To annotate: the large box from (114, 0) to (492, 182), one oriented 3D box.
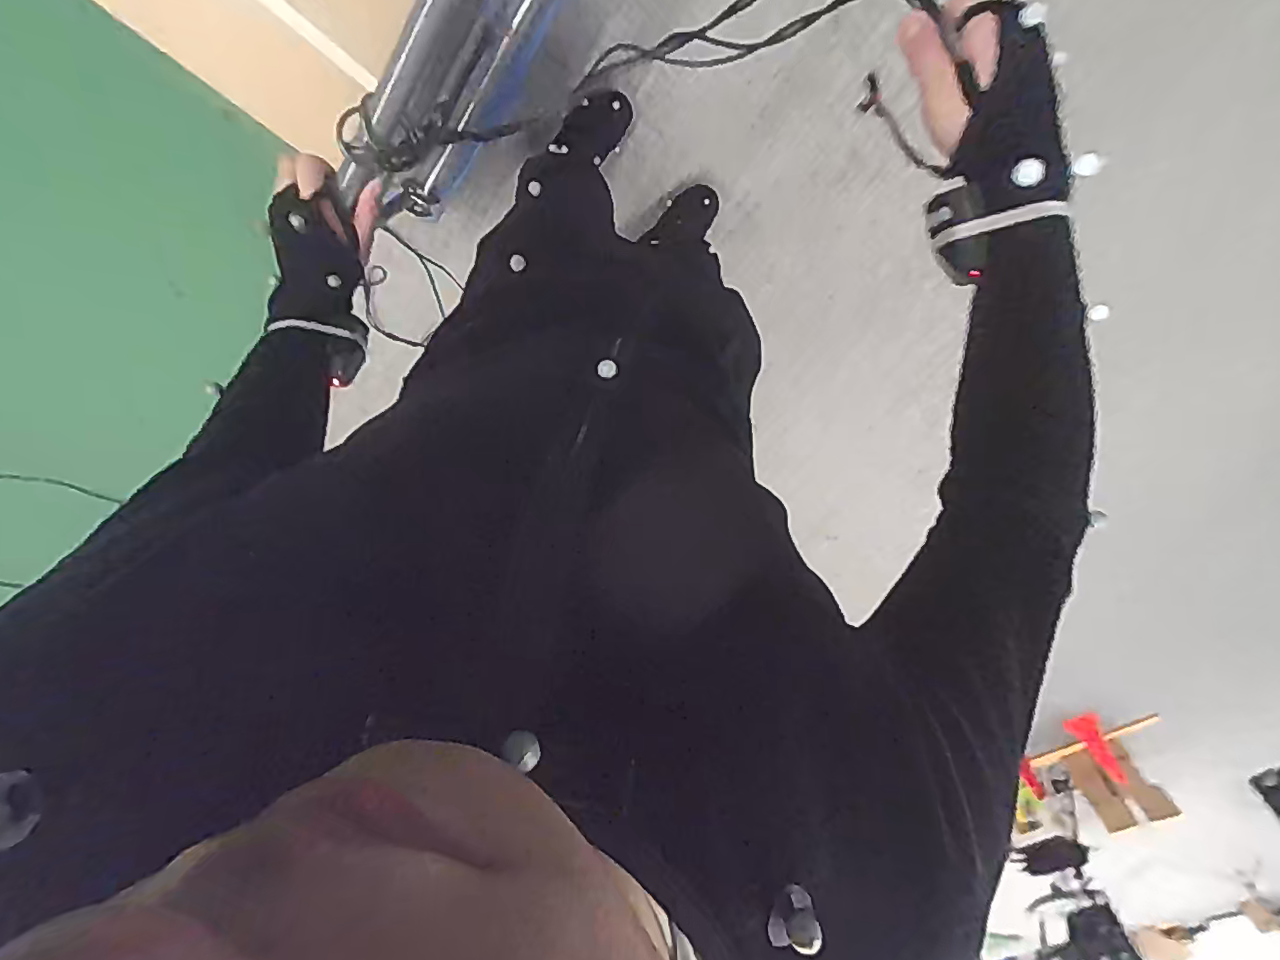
[{"bbox_3d":[-0.504,-0.764,0.846,0.408,0.320,0.320,33,120,-26],"label":"large box"}]
